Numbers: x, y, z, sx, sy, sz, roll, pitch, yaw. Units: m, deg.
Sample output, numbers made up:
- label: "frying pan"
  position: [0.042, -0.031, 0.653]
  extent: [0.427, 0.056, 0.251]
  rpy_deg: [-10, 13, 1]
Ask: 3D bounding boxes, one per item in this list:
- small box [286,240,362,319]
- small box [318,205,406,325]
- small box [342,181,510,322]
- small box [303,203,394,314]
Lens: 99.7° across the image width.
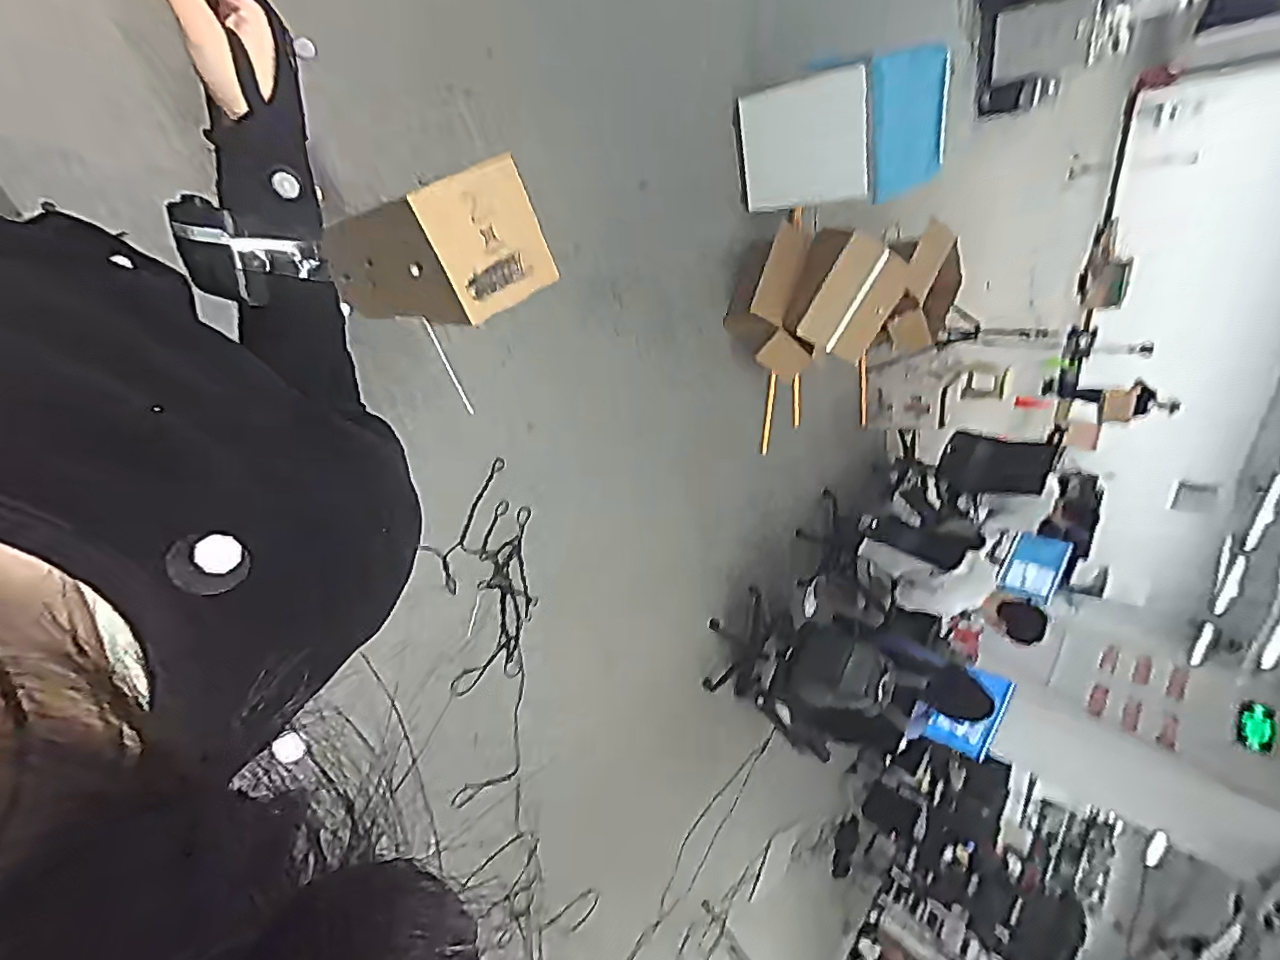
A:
- label: "small box"
  position: [-0.685, -0.489, 1.263]
  extent: [0.168, 0.176, 0.179]
  rpy_deg: [-40, 128, -30]
- label: "small box"
  position: [-0.469, -0.415, 1.029]
  extent: [0.168, 0.176, 0.179]
  rpy_deg: [-41, 129, -29]
- label: "small box"
  position: [-0.361, -0.382, 0.912]
  extent: [0.179, 0.176, 0.168]
  rpy_deg: [-40, 127, -28]
- label: "small box"
  position: [-0.574, -0.462, 1.146]
  extent: [0.168, 0.176, 0.179]
  rpy_deg: [-39, 127, -29]
